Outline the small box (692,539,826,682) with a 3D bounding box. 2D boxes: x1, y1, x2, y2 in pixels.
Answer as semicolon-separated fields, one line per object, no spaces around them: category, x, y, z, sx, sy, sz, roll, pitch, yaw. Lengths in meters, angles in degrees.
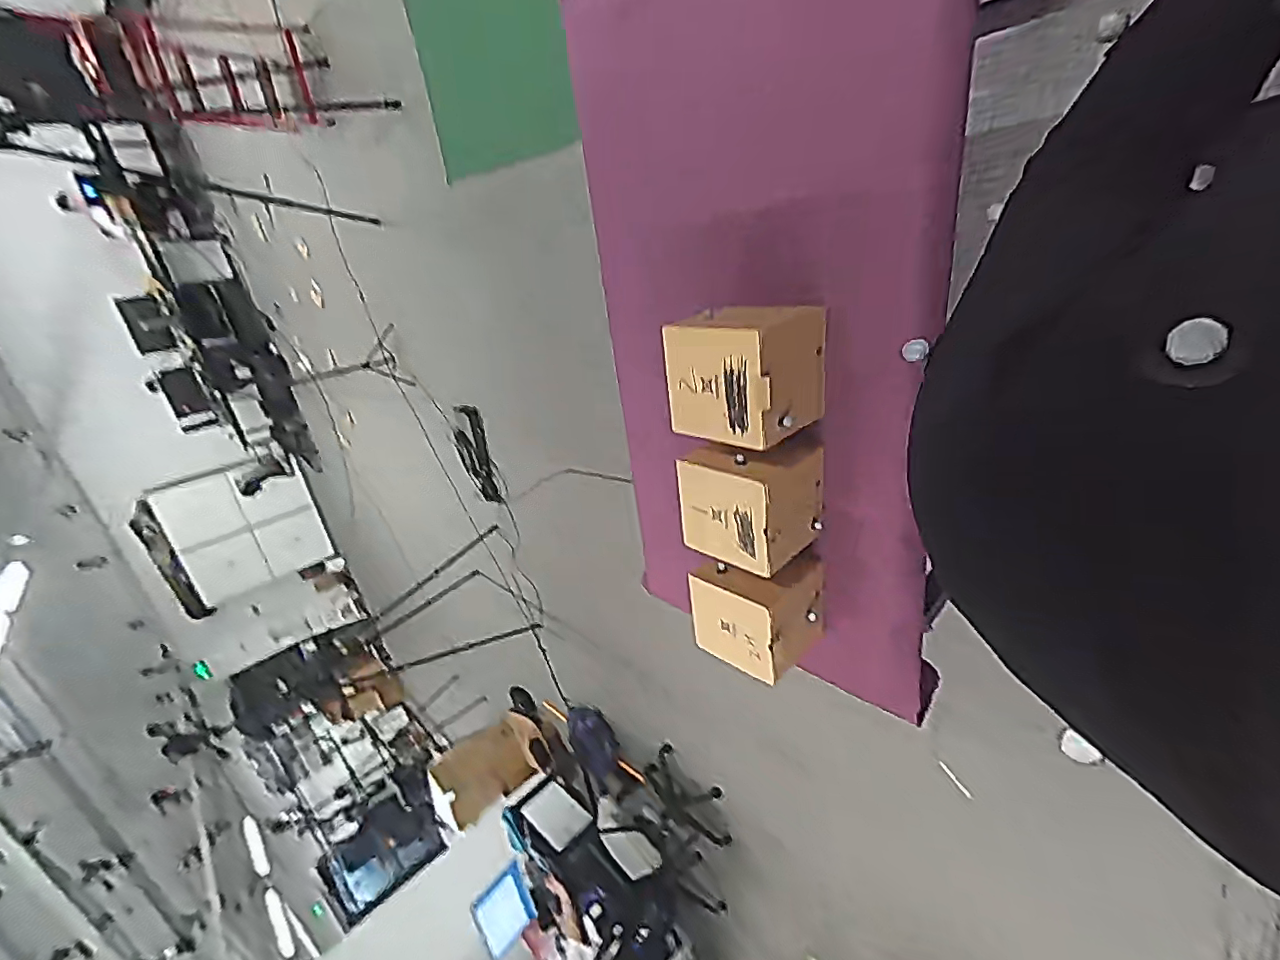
small box;0.220;0.227;0.996;0.179;0.176;0.168;16;123;44
